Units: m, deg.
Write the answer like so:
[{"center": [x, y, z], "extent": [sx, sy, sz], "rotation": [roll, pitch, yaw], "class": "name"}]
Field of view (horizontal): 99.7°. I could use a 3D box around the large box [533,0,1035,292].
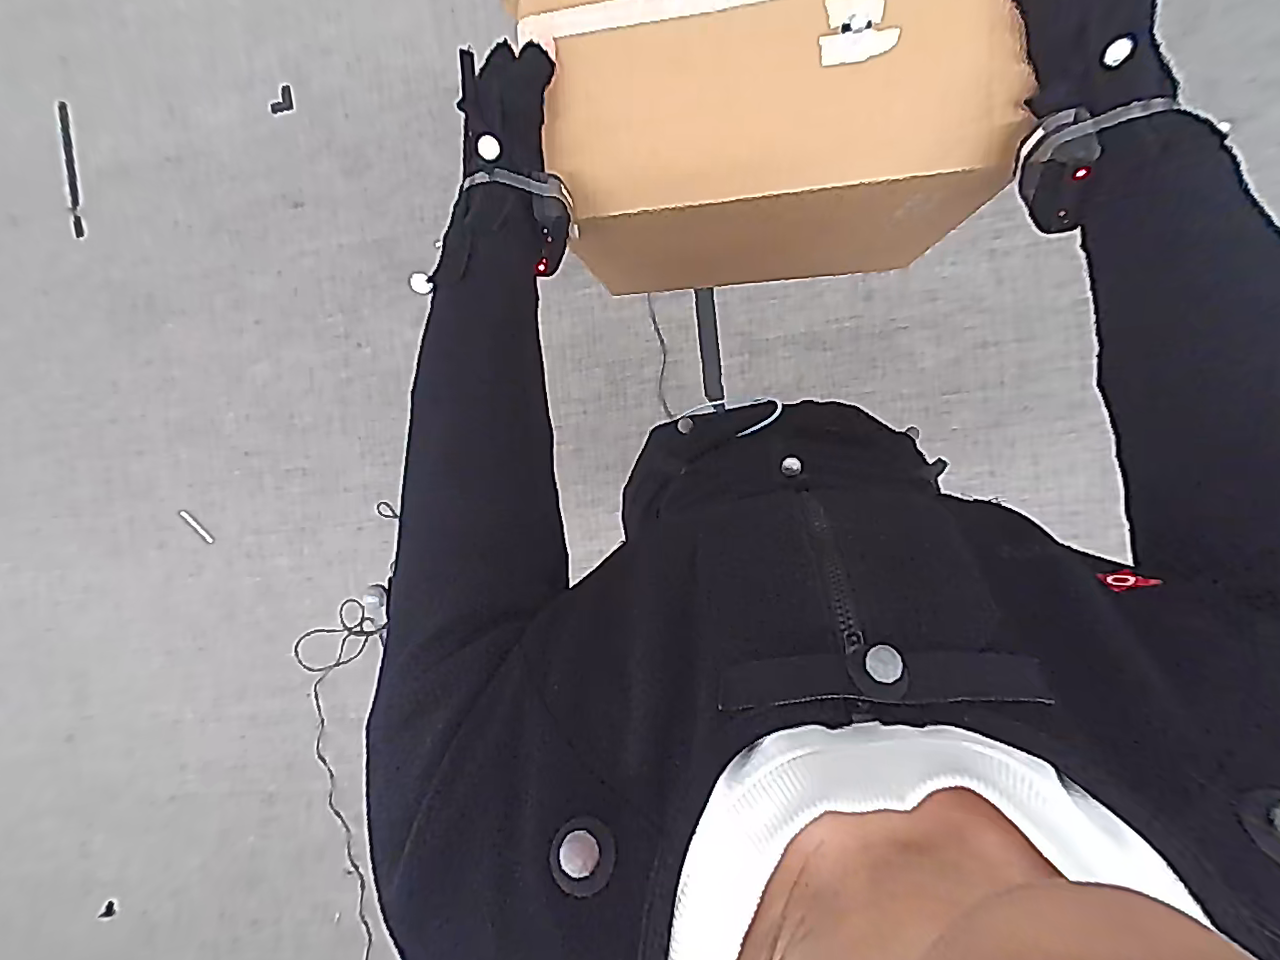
[{"center": [0.123, -0.416, 0.587], "extent": [0.408, 0.320, 0.320], "rotation": [-3, 97, 8], "class": "large box"}]
